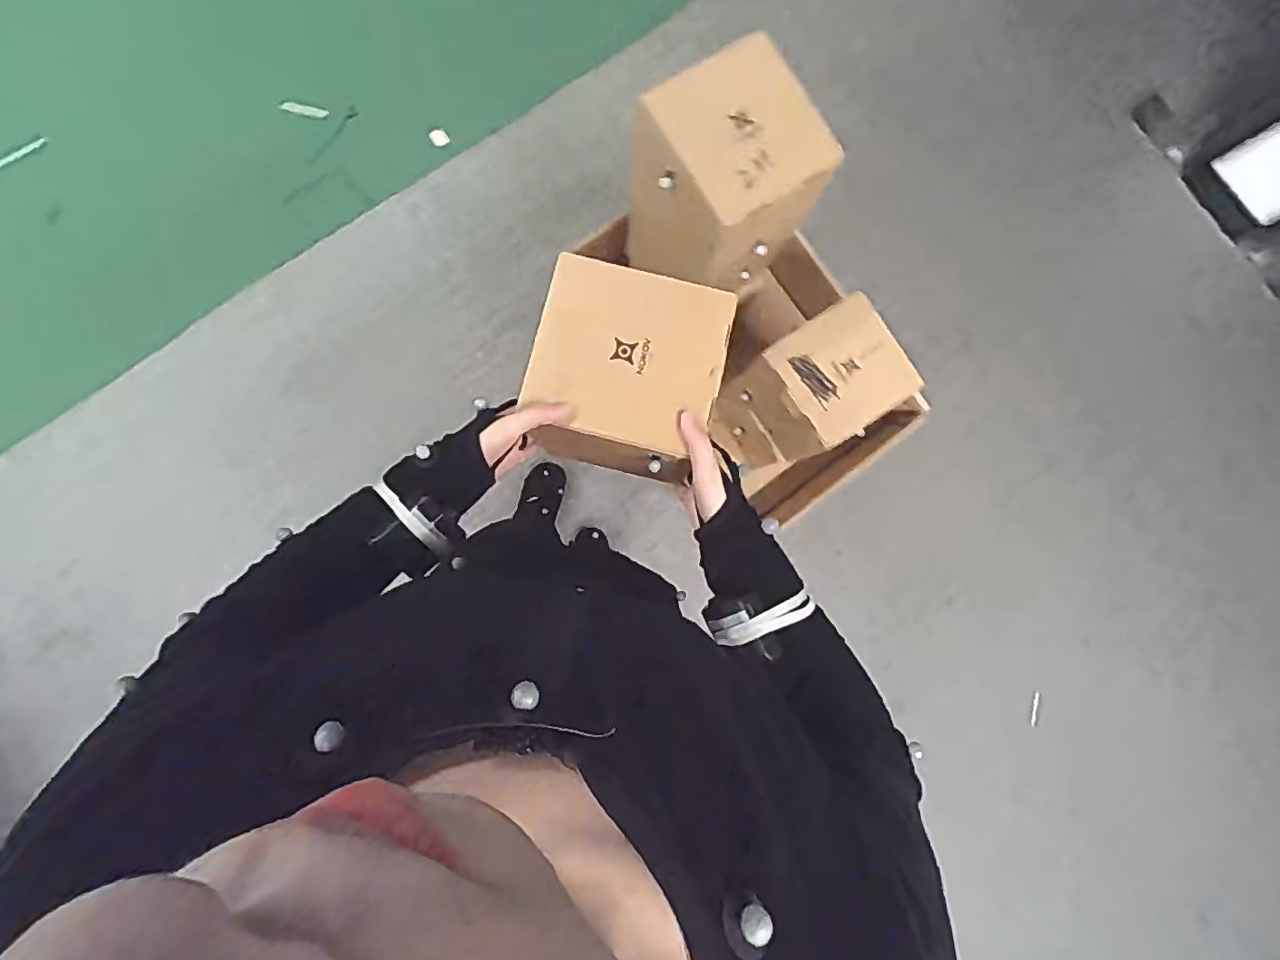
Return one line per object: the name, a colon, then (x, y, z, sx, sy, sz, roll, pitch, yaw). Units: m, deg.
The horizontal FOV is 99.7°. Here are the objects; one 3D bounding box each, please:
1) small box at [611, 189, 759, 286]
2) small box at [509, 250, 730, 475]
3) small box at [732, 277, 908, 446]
small box: (0.071, -0.386, 0.840, 0.179, 0.176, 0.168, -38, 90, -6)
small box: (-0.019, -0.110, 0.578, 0.179, 0.176, 0.168, 13, 81, 0)
small box: (0.260, -0.170, 0.838, 0.179, 0.176, 0.168, -36, 89, -6)
